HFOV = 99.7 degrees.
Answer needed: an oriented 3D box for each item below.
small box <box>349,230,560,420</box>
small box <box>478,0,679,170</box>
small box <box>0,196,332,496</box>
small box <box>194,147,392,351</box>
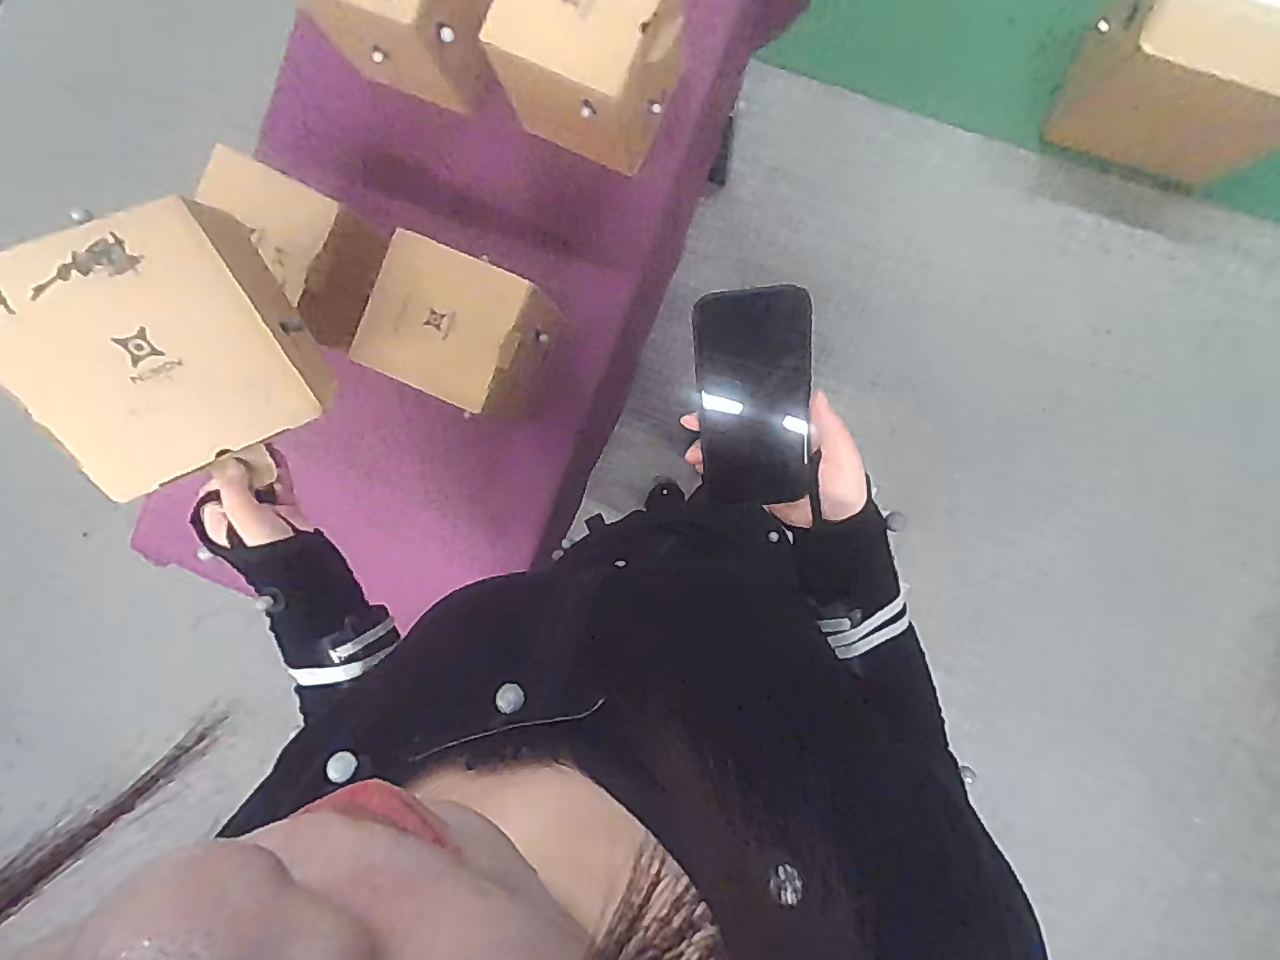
[{"bbox_3d":[-0.224,-0.185,0.701,0.179,0.176,0.168,24,94,5],"label":"small box"},{"bbox_3d":[-0.063,-0.527,0.672,0.179,0.176,0.168,26,95,3],"label":"small box"},{"bbox_3d":[-0.389,-0.121,0.461,0.168,0.176,0.179,-27,121,-13],"label":"small box"},{"bbox_3d":[-0.449,-0.286,0.716,0.179,0.176,0.168,28,95,3],"label":"small box"}]
